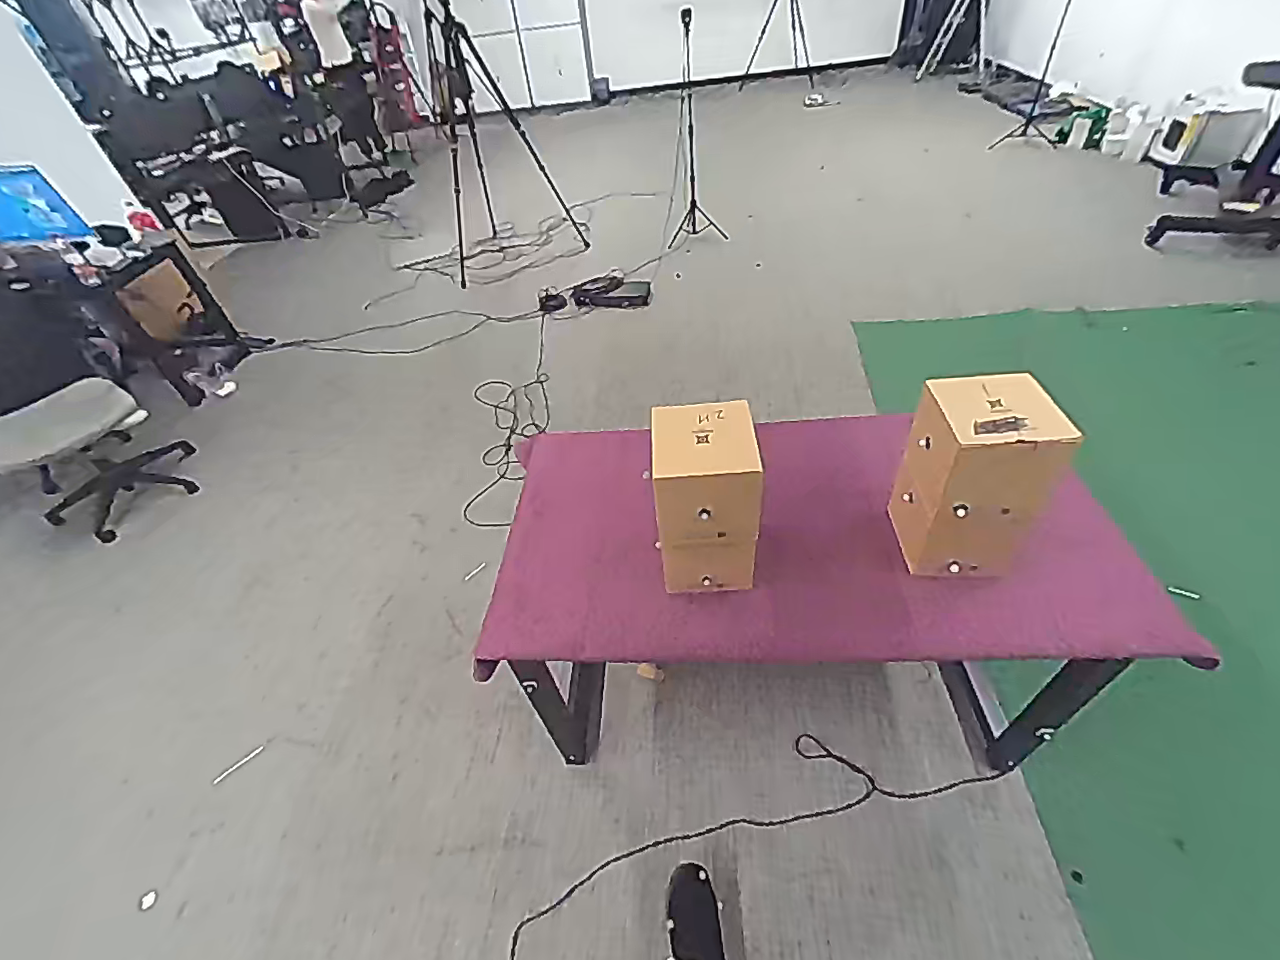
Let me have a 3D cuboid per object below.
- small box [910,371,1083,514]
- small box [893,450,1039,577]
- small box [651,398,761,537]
[{"bbox_3d":[0.562,-0.056,0.884,0.168,0.176,0.179,-3,43,9],"label":"small box"},{"bbox_3d":[0.583,0.059,0.999,0.168,0.176,0.179,-2,45,9],"label":"small box"},{"bbox_3d":[0.109,-0.015,0.913,0.168,0.176,0.179,-3,45,5],"label":"small box"}]
